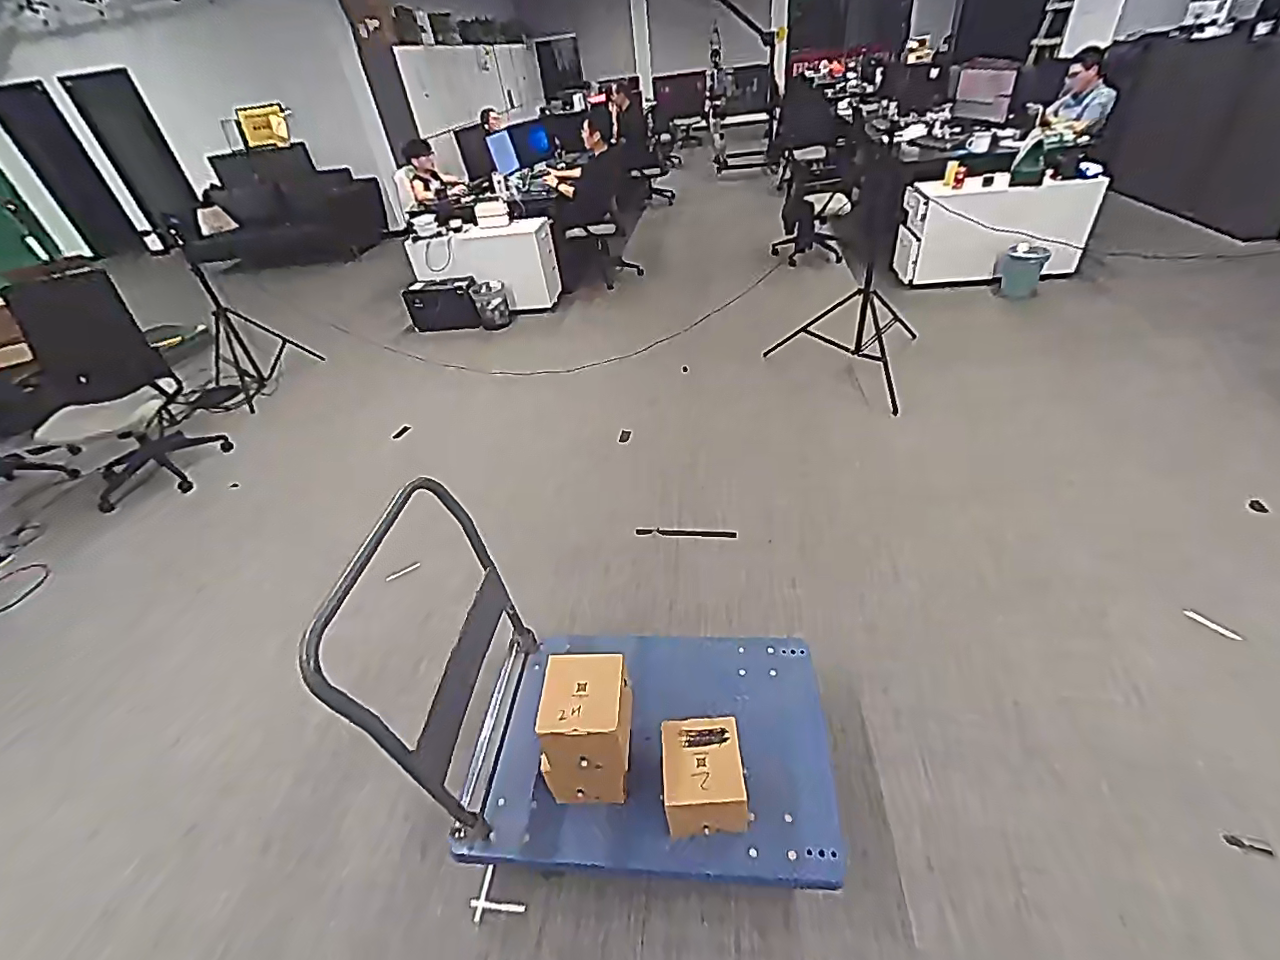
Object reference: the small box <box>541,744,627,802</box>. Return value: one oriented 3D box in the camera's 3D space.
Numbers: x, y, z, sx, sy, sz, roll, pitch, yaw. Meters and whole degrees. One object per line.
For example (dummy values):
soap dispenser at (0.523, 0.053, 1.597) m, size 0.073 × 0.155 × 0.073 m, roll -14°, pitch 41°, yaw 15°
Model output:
small box at (-0.120, 0.622, 1.260) m, size 0.168 × 0.176 × 0.179 m, roll -4°, pitch 39°, yaw 5°

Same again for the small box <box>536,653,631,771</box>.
small box at (-0.111, 0.493, 1.154) m, size 0.168 × 0.176 × 0.179 m, roll -3°, pitch 39°, yaw 6°
